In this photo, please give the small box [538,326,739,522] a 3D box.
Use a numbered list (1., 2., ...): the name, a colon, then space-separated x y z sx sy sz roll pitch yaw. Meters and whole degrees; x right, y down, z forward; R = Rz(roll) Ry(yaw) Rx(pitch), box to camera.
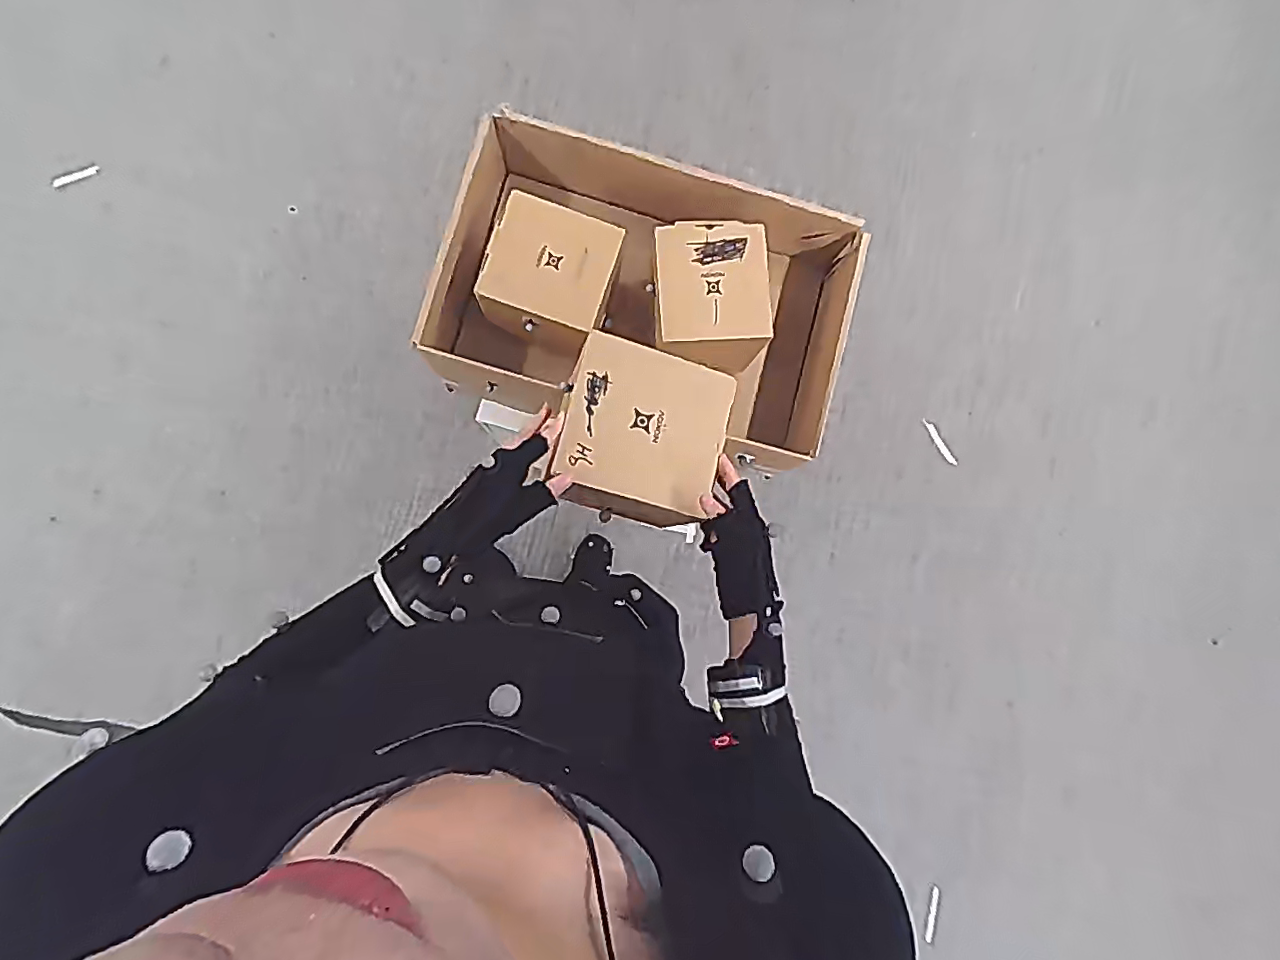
1. small box: -0.011 -0.050 0.642 0.179 0.176 0.168 17 77 -13
